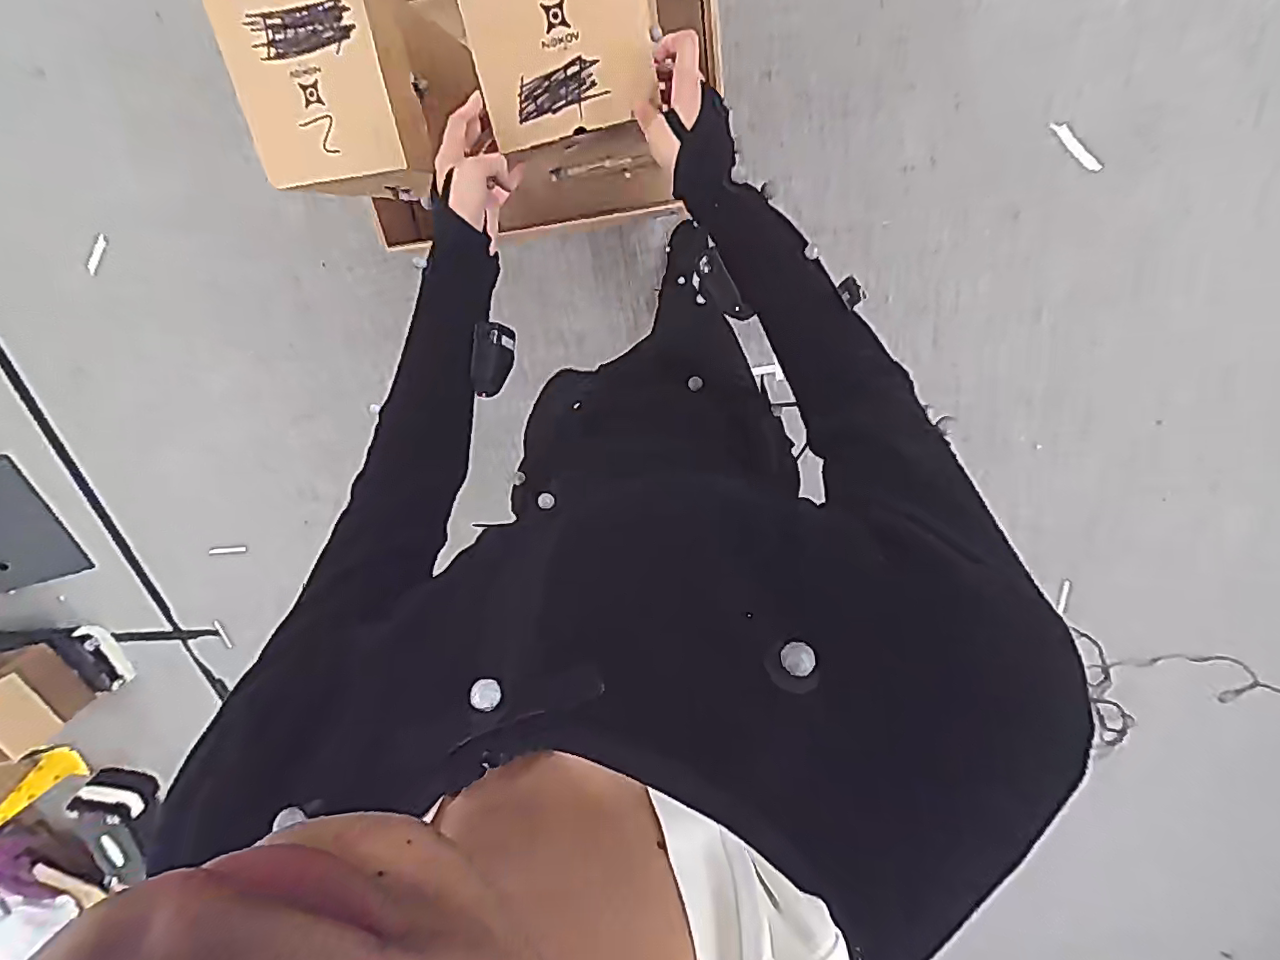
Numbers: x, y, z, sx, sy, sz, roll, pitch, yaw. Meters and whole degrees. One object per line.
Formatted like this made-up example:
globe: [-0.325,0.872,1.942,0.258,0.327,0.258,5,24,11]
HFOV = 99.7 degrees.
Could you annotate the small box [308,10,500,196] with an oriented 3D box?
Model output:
small box: [-0.318,-0.517,0.769,0.168,0.176,0.179,-4,114,9]

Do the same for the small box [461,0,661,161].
small box: [-0.074,-0.449,0.560,0.168,0.176,0.179,-12,112,5]

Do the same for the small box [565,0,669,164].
small box: [-0.055,-0.545,0.726,0.168,0.176,0.179,-7,115,10]
